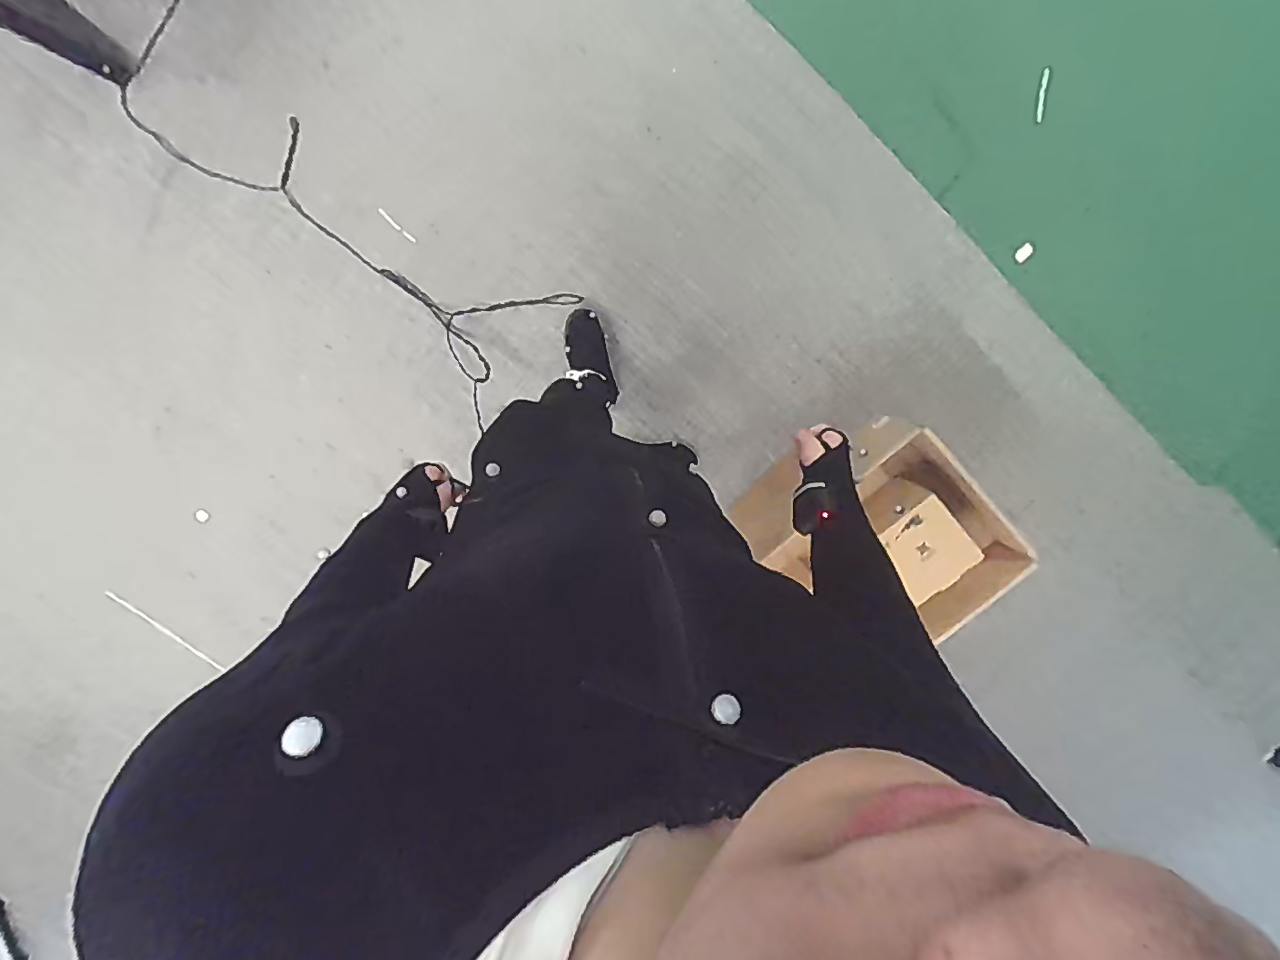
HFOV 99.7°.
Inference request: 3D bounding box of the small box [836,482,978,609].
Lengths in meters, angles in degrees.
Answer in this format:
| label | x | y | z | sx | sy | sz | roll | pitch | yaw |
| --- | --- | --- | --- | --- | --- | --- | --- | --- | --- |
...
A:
| label | x | y | z | sx | sy | sz | roll | pitch | yaw |
| --- | --- | --- | --- | --- | --- | --- | --- | --- | --- |
| small box | 0.547 | 0.128 | 1.132 | 0.168 | 0.176 | 0.179 | -40 | 100 | 8 |
